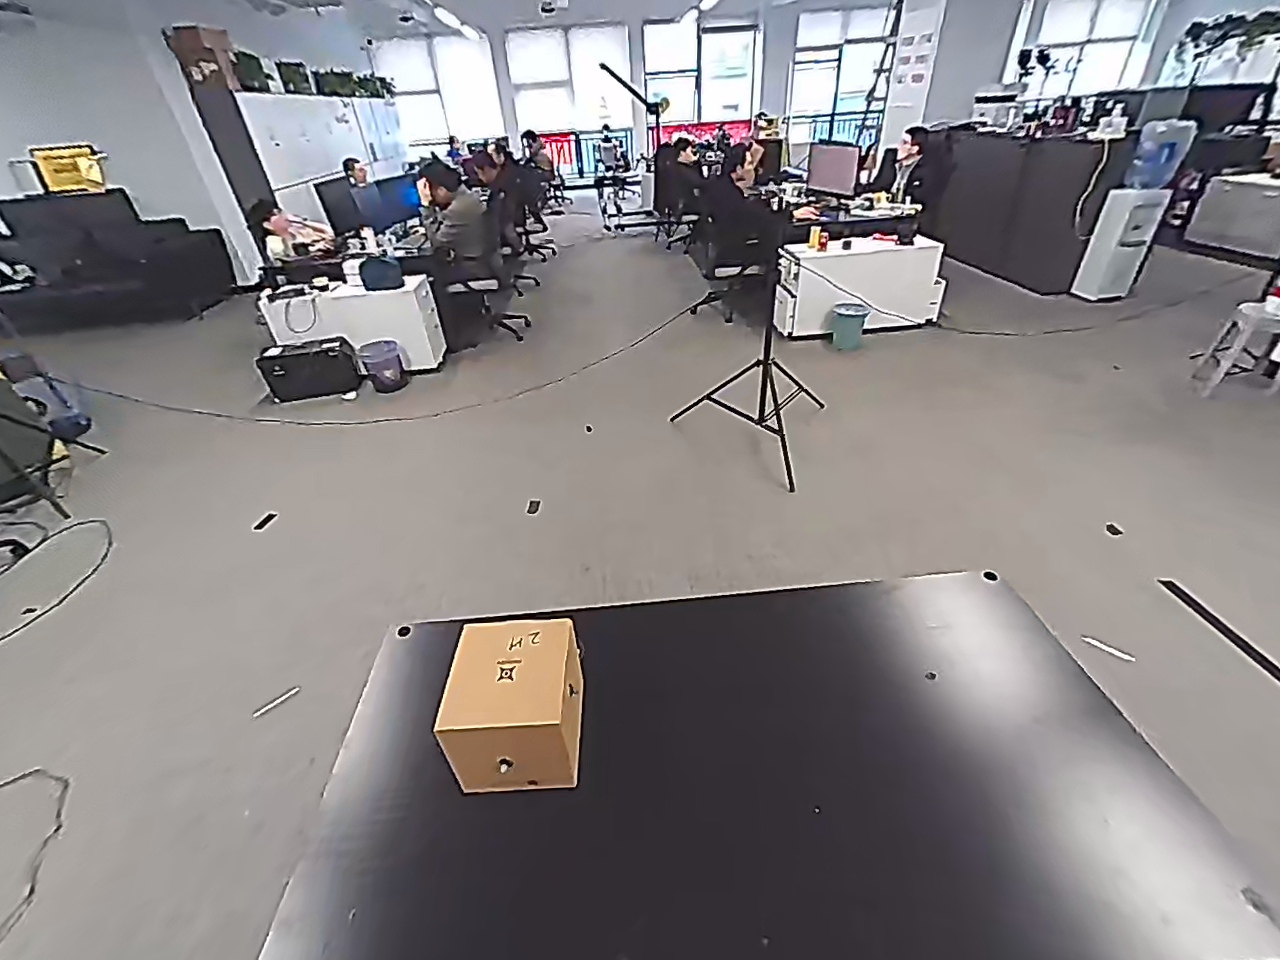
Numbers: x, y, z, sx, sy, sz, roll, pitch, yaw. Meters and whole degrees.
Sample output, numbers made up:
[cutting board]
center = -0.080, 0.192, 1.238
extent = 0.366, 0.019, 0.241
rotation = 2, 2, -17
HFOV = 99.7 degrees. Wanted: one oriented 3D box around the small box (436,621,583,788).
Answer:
[small box]
center = -0.179, 0.337, 0.807
extent = 0.168, 0.176, 0.179
rotation = -4, 34, 1
